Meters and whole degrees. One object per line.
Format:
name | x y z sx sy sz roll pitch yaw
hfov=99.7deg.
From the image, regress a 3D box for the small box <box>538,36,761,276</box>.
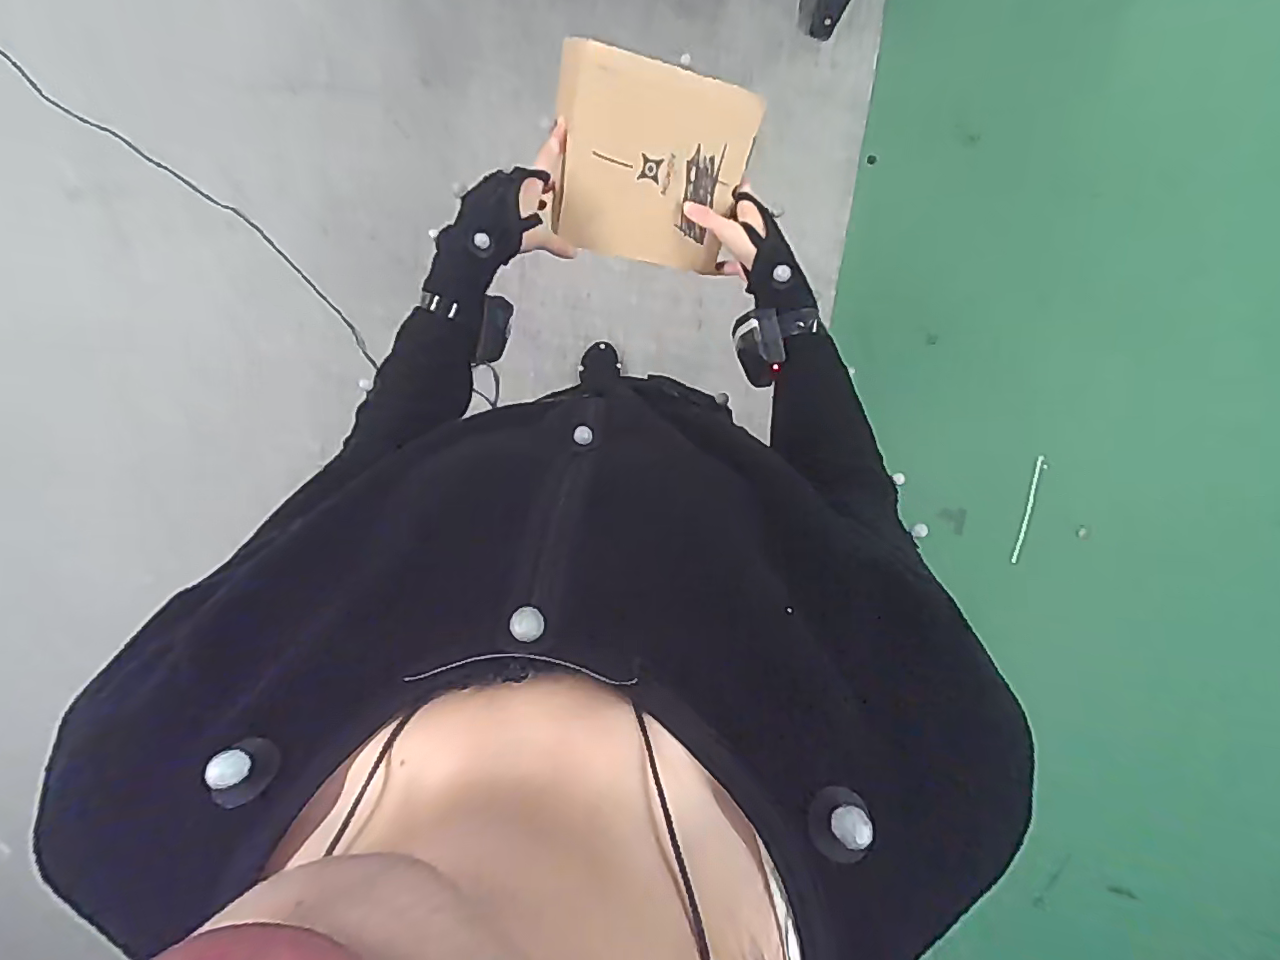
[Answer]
small box | -0.006 -0.343 0.574 0.179 0.176 0.168 7 126 -18
